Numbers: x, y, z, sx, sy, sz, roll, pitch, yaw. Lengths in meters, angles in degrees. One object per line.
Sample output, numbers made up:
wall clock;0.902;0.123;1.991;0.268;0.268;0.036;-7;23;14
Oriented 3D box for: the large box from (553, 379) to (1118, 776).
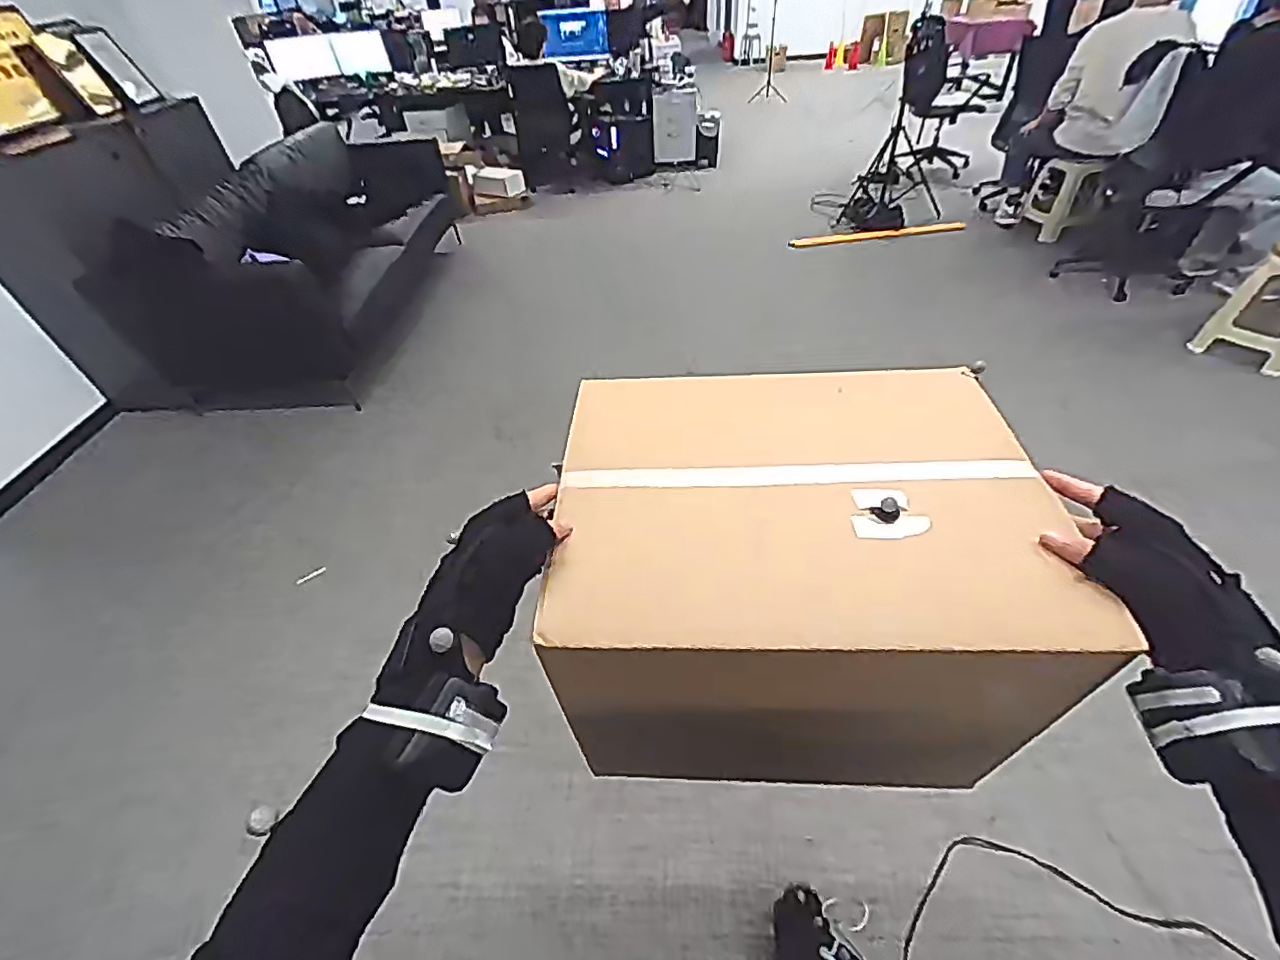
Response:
large box;0.144;0.109;0.589;0.408;0.320;0.320;-1;46;4
